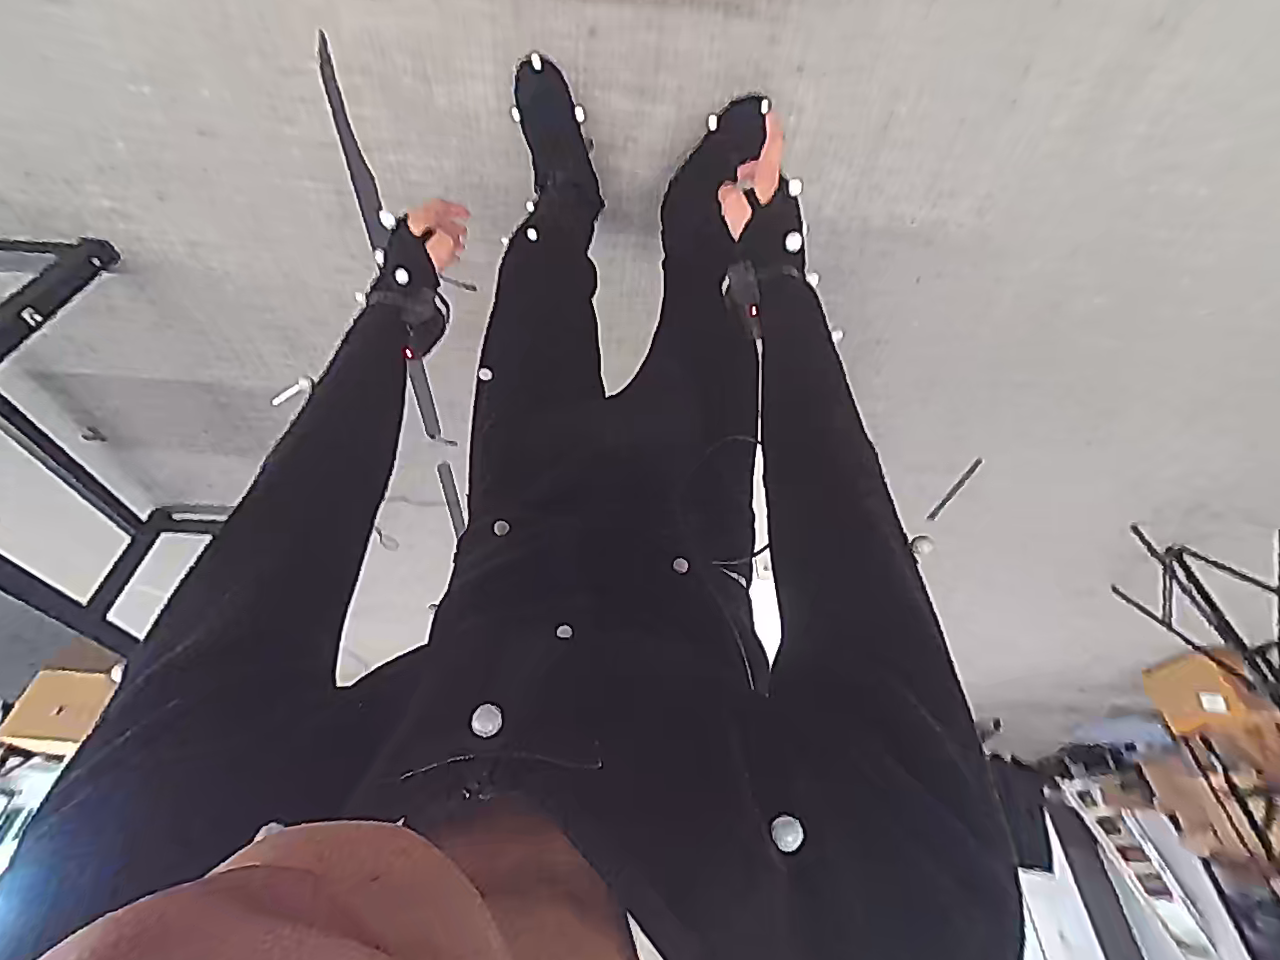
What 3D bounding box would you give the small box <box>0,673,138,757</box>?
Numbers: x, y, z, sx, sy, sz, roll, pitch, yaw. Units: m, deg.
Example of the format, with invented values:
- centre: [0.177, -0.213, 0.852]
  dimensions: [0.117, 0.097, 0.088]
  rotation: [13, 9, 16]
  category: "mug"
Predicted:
- centre: [-1.489, 0.621, 1.427]
  dimensions: [0.179, 0.176, 0.168]
  rotation: [6, 141, -7]
  category: "small box"
